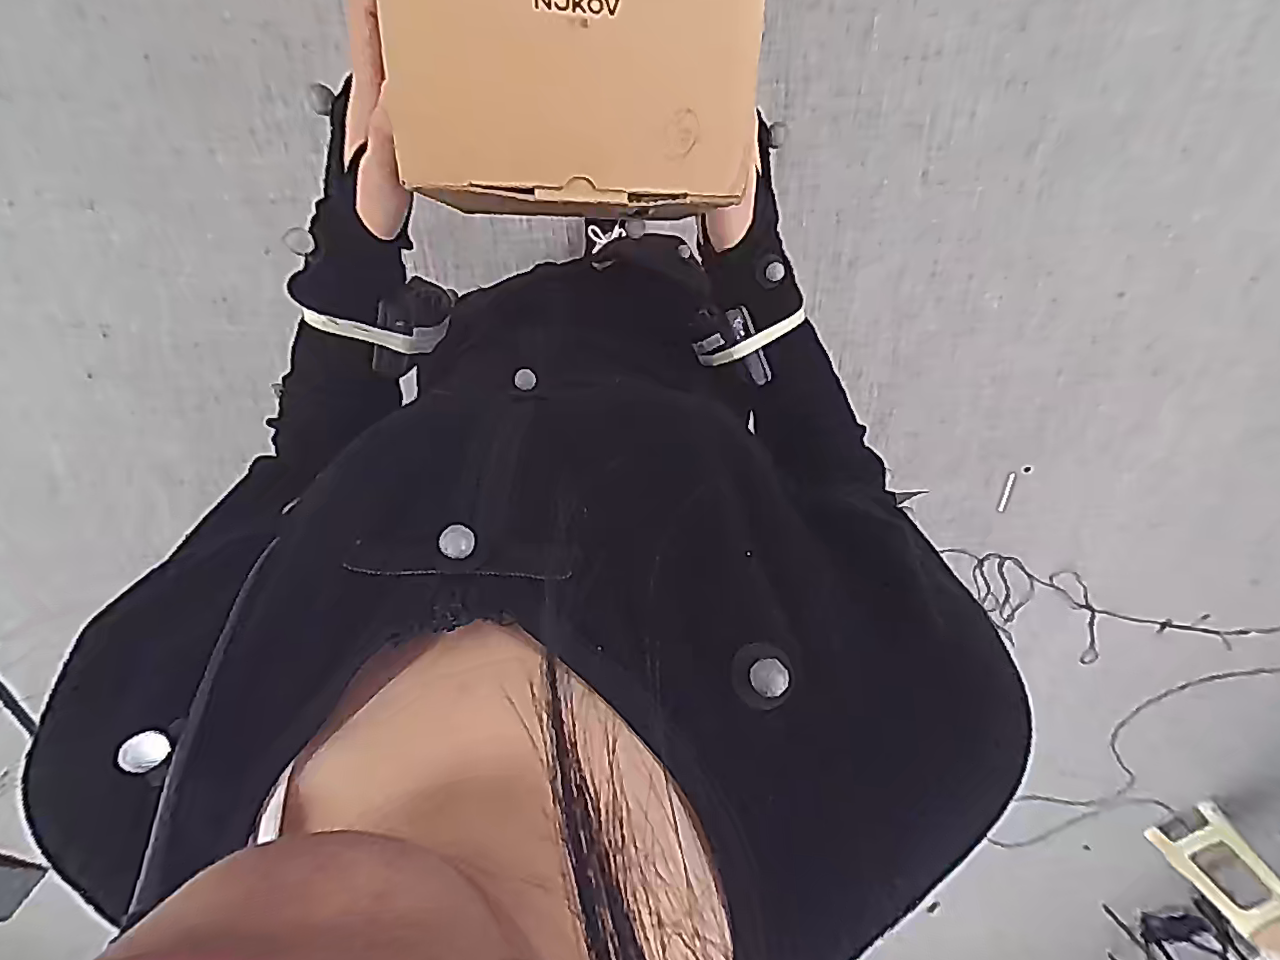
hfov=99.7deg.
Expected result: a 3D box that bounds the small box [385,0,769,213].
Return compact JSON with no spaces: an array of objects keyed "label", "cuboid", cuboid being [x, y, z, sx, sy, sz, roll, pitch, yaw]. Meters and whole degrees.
[{"label":"small box","cuboid":[-0.034,-0.250,0.296,0.168,0.176,0.179,-2,112,-9]}]

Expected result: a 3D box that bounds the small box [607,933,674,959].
[{"label":"small box","cuboid":[0.005,1.267,1.349,0.168,0.176,0.179,-3,118,-4]}]
